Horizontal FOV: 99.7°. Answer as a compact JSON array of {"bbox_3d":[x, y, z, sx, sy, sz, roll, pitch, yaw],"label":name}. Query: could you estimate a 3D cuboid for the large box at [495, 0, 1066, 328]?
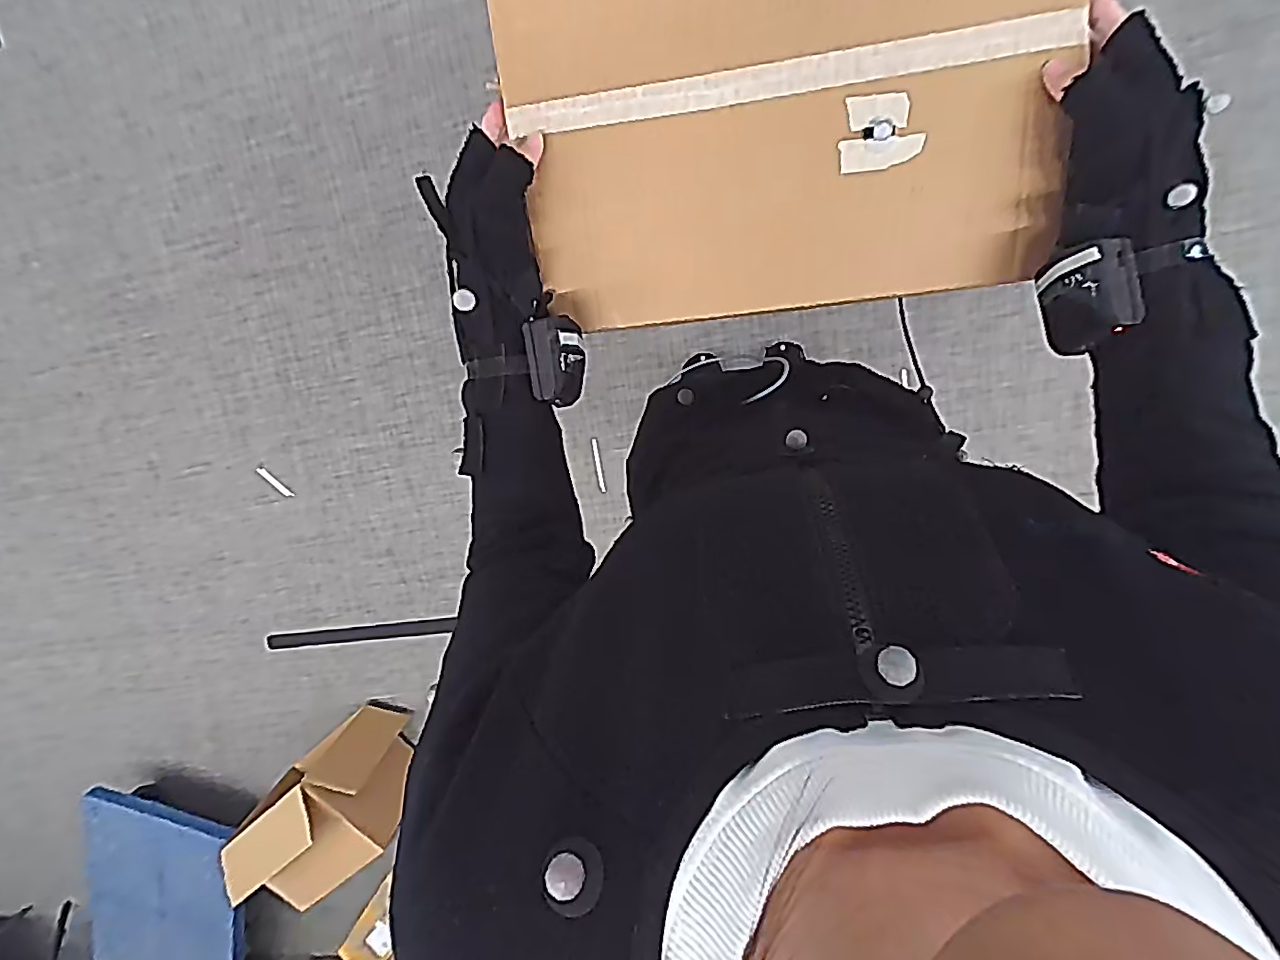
[{"bbox_3d":[0.109,-0.338,0.541,0.408,0.320,0.320,-6,107,5],"label":"large box"}]
